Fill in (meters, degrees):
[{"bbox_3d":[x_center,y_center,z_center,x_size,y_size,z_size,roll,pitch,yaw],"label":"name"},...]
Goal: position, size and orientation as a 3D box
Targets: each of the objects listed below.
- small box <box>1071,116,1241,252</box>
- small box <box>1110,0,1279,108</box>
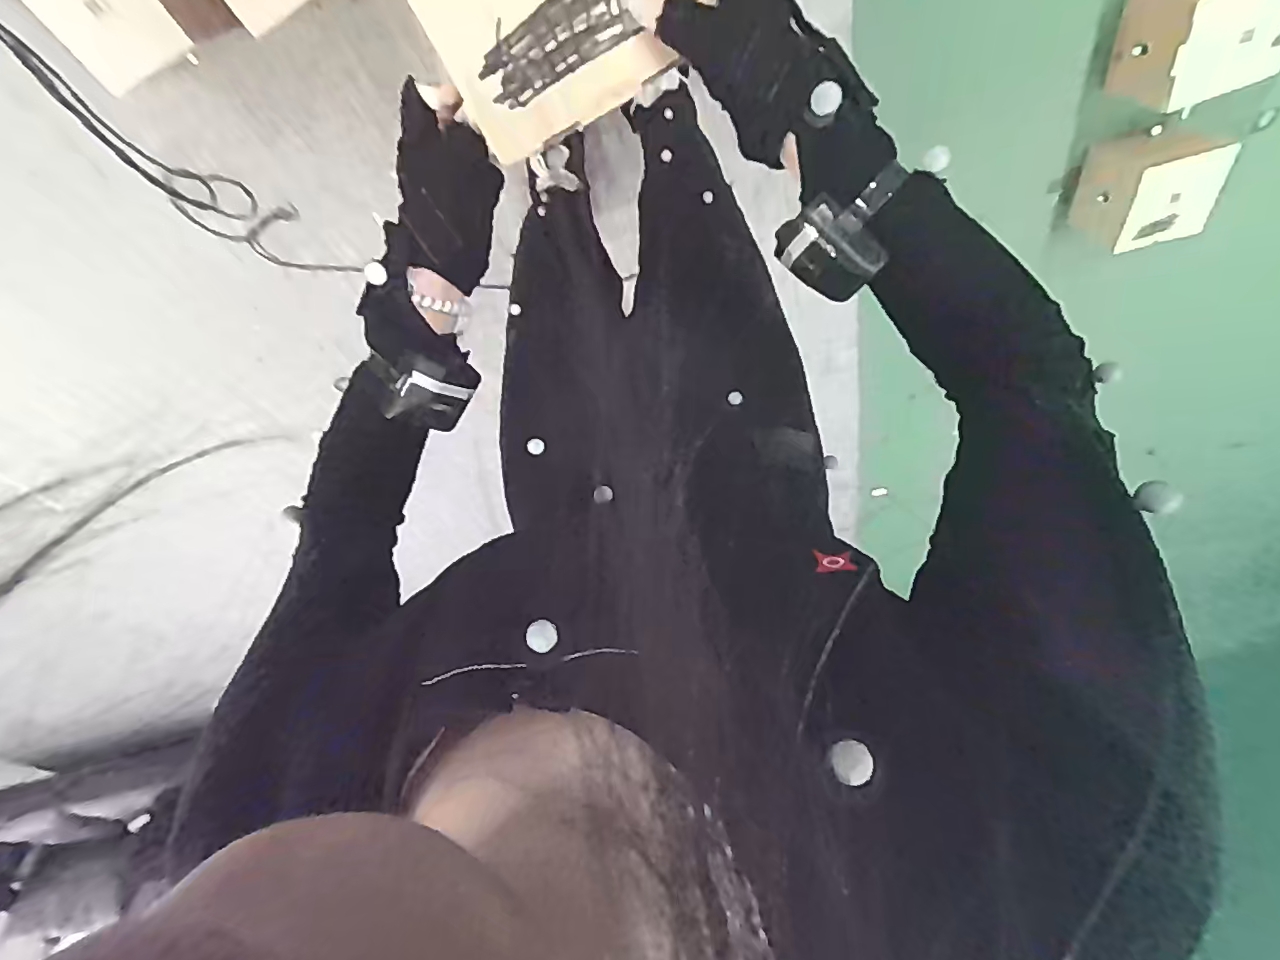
[{"bbox_3d":[1.041,-0.611,1.115,0.168,0.176,0.179,-13,137,9],"label":"small box"},{"bbox_3d":[0.963,-0.777,0.922,0.179,0.176,0.168,-14,137,12],"label":"small box"}]
